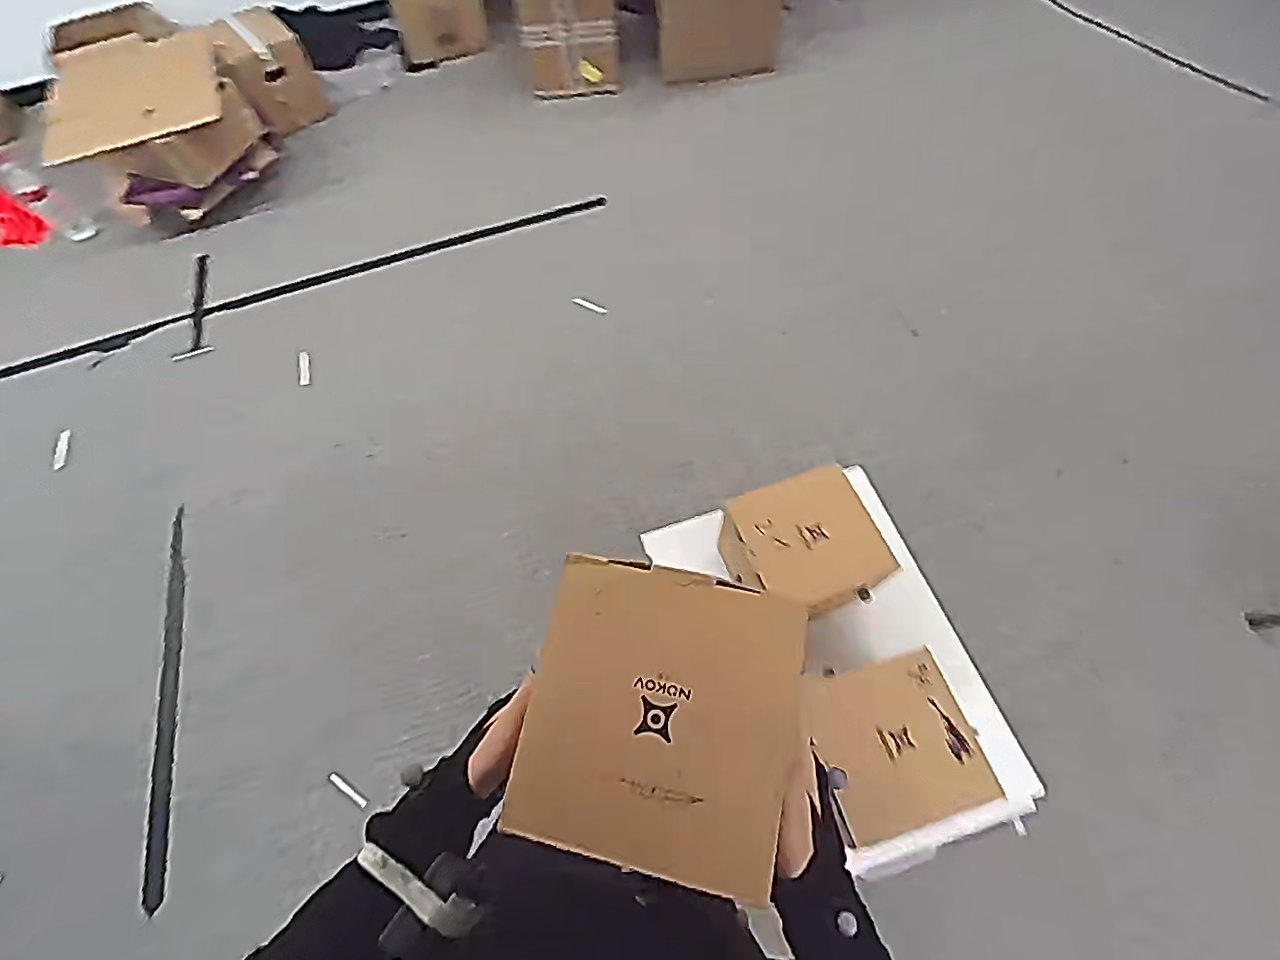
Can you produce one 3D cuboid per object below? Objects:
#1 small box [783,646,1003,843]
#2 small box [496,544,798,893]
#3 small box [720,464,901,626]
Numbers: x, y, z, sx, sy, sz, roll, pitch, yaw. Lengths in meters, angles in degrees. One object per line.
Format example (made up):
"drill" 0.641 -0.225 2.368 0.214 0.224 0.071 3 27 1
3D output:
"small box" 0.286 0.324 0.668 0.179 0.176 0.168 -16 62 -3
"small box" 0.014 0.162 0.416 0.168 0.176 0.179 9 75 9
"small box" 0.229 0.107 0.779 0.179 0.176 0.168 -19 63 -5
